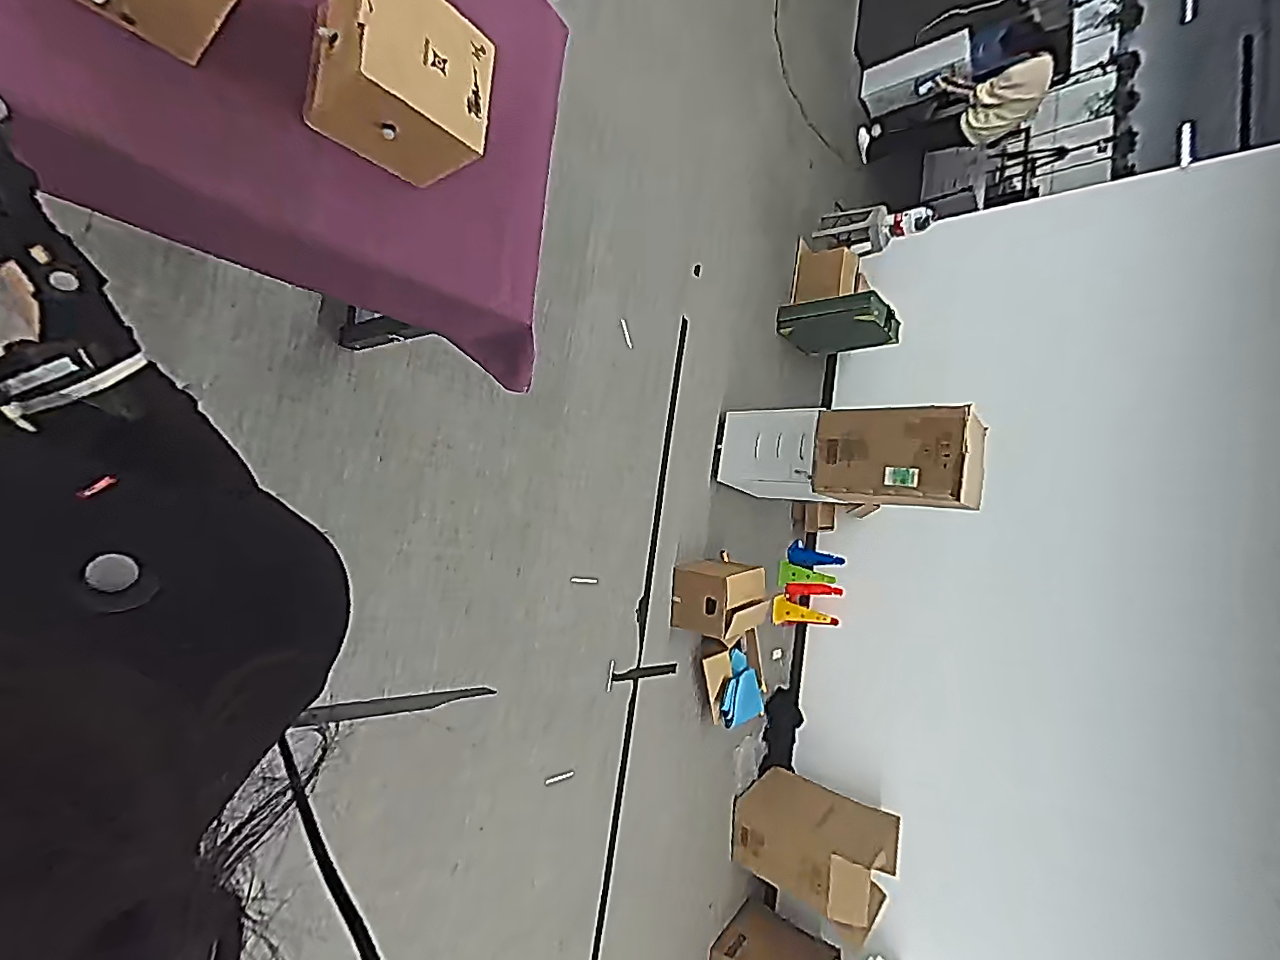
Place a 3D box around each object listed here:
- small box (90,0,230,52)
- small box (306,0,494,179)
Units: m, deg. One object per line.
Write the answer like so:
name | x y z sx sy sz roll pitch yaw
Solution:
small box | -0.502 -0.584 0.525 0.168 0.176 0.179 11 85 -52
small box | -0.331 -0.553 0.747 0.179 0.176 0.168 10 85 -51
